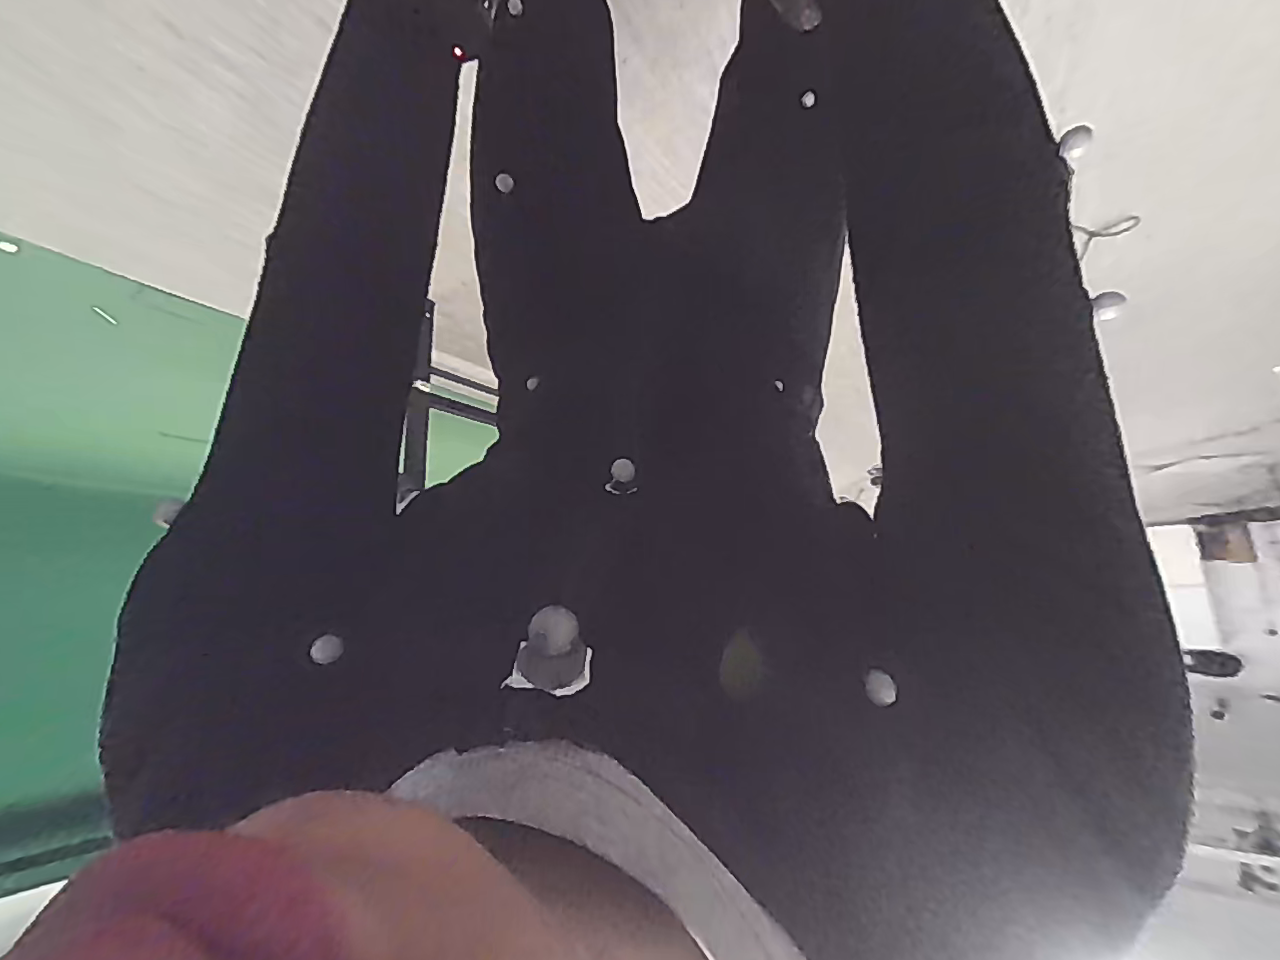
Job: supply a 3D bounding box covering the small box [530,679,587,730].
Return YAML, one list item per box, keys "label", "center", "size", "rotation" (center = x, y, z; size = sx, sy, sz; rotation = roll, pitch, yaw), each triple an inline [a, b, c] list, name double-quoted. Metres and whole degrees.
- label: "small box"
  center: [-0.341, 0.928, 2.245]
  size: [0.168, 0.176, 0.179]
  rotation: [-15, 163, 32]

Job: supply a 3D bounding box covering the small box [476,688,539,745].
- label: "small box"
  center: [-0.504, 0.893, 2.049]
  size: [0.168, 0.176, 0.179]
  rotation: [-15, 163, 31]
